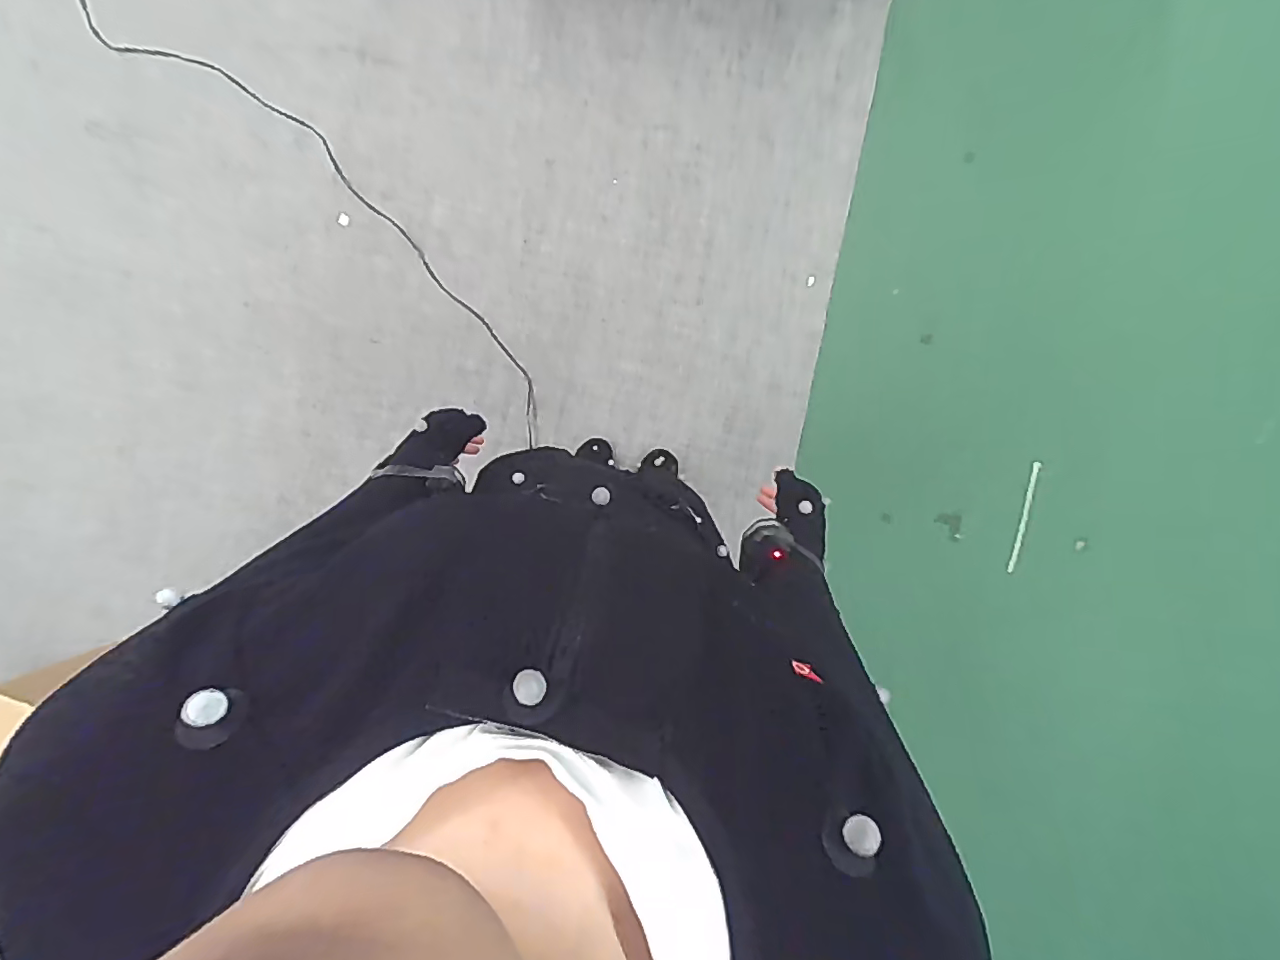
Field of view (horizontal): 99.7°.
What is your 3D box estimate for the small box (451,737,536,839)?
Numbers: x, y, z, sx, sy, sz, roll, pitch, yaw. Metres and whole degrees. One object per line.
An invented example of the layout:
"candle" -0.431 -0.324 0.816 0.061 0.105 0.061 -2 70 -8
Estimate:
"small box" -0.372 0.777 1.362 0.179 0.176 0.168 11 91 0
